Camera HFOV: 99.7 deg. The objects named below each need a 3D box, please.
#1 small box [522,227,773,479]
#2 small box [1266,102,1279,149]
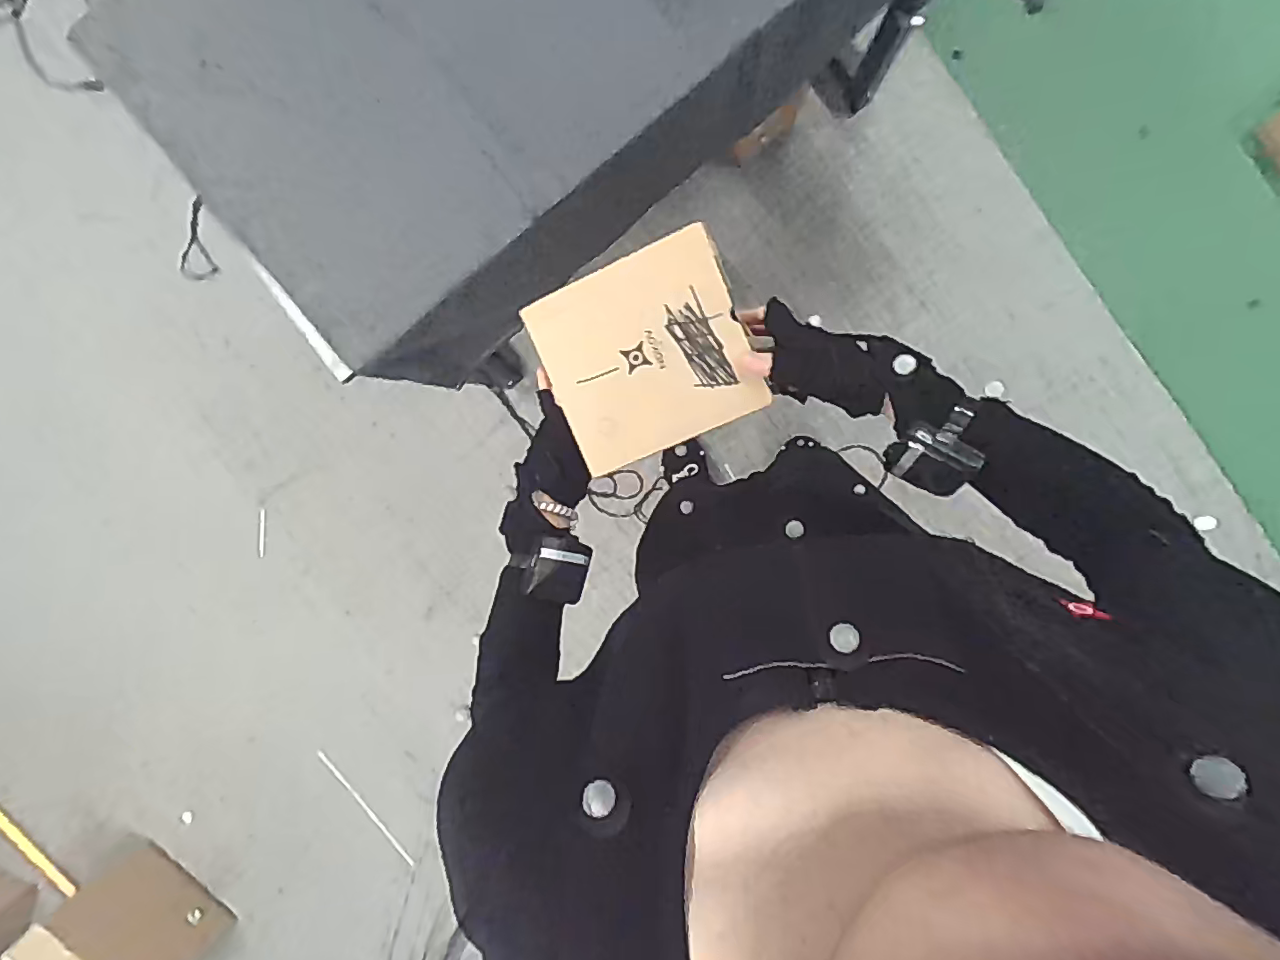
[{"bbox_3d":[0.013,-0.117,0.543,0.179,0.176,0.168,-22,95,9],"label":"small box"},{"bbox_3d":[1.551,-0.820,1.178,0.179,0.176,0.168,-38,93,9],"label":"small box"}]
